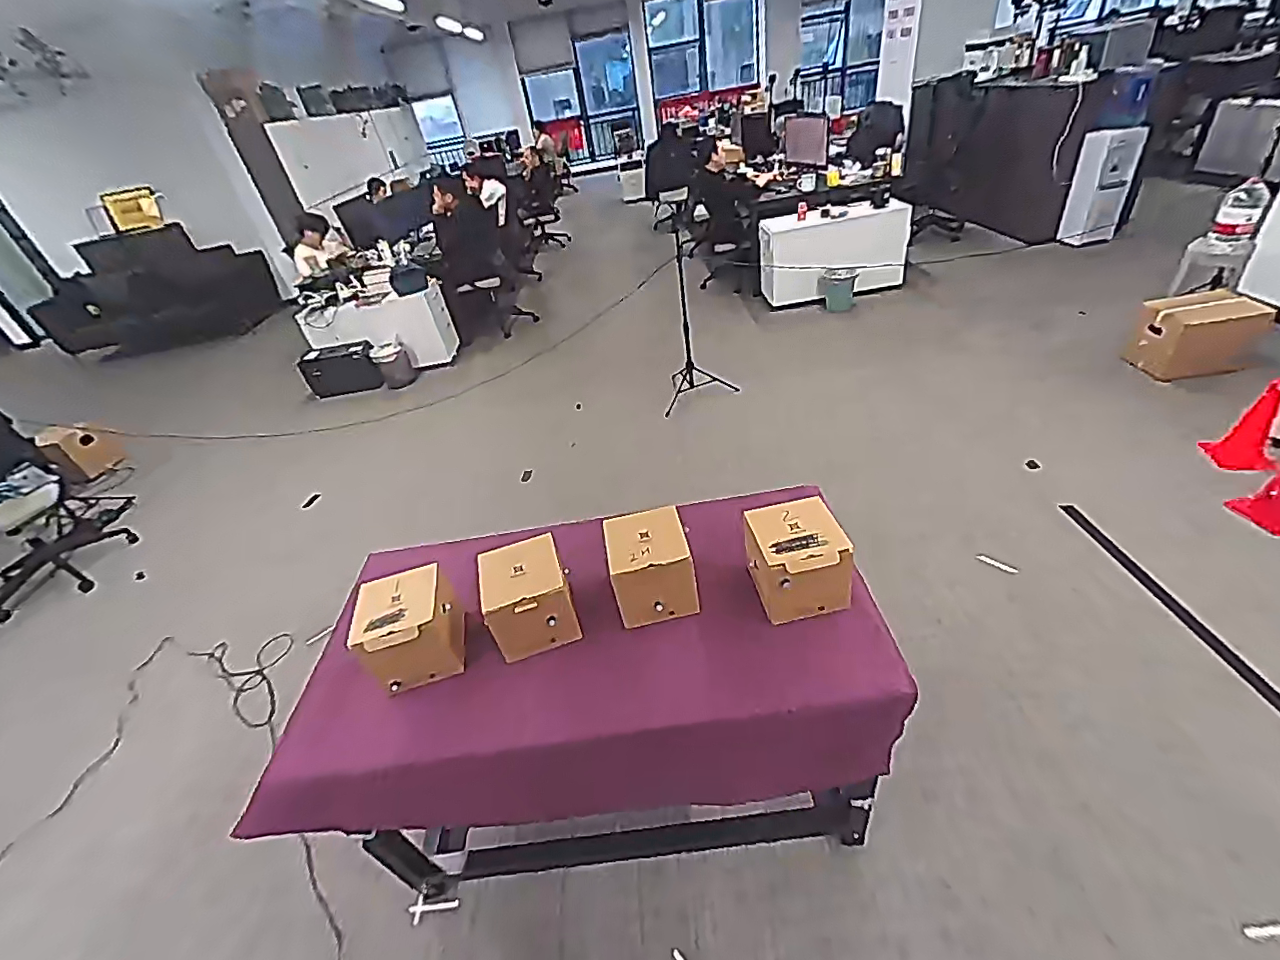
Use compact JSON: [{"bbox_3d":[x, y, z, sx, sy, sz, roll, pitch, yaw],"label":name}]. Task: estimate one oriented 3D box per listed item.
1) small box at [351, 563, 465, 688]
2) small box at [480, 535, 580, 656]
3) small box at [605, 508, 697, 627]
[{"bbox_3d":[-0.478,0.313,1.142,0.168,0.176,0.179,-15,36,-7],"label":"small box"},{"bbox_3d":[-0.234,0.253,1.163,0.168,0.176,0.179,-16,36,-8],"label":"small box"},{"bbox_3d":[0.023,0.190,1.177,0.168,0.176,0.179,-12,36,-1],"label":"small box"}]
